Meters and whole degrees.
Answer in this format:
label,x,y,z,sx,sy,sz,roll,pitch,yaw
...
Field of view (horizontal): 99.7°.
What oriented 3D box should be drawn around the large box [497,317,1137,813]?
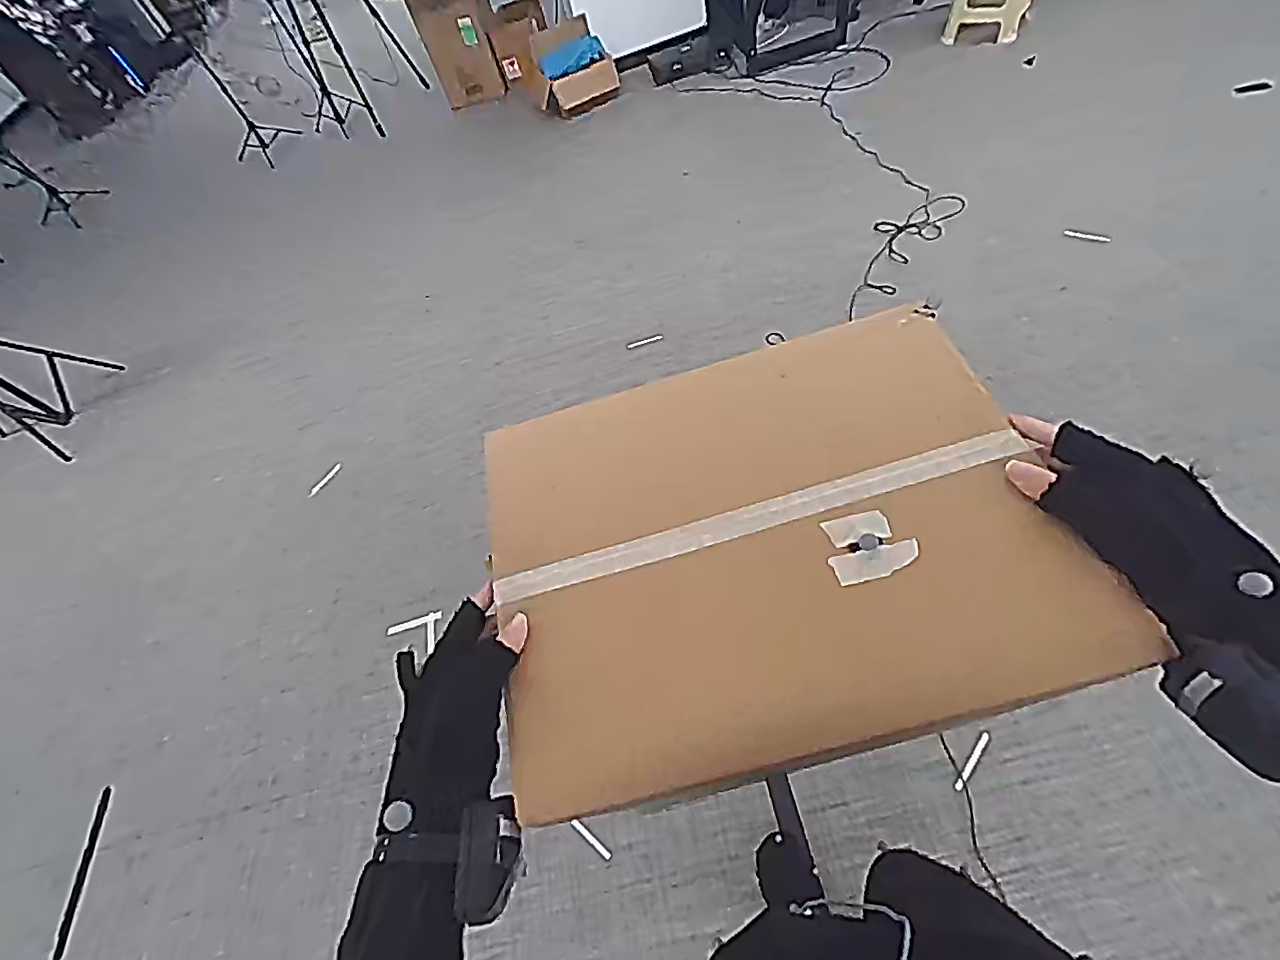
label,x,y,z,sx,sy,sz,roll,pitch,yaw
large box,0.115,0.106,0.546,0.408,0.320,0.320,-17,59,3
